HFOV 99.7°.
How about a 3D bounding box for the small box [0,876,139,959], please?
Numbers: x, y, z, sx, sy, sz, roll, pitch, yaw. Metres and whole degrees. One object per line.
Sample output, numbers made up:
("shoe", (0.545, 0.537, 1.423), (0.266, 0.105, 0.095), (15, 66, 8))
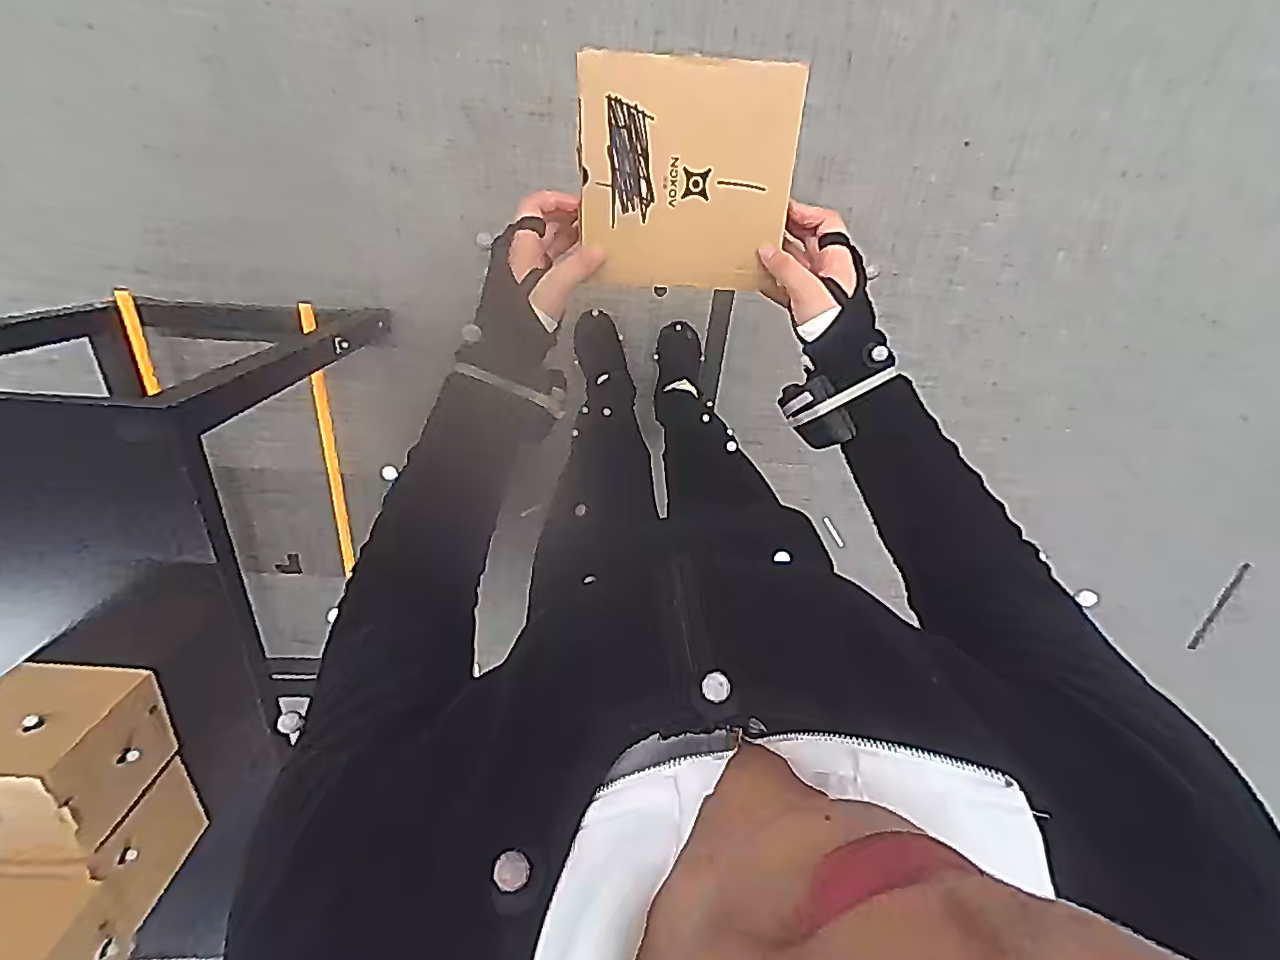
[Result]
("small box", (-0.790, 0.621, 0.666), (0.179, 0.176, 0.168), (5, 117, -7))

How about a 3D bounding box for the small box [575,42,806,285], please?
("small box", (0.033, -0.285, 0.510), (0.179, 0.176, 0.168), (1, 118, -3))
